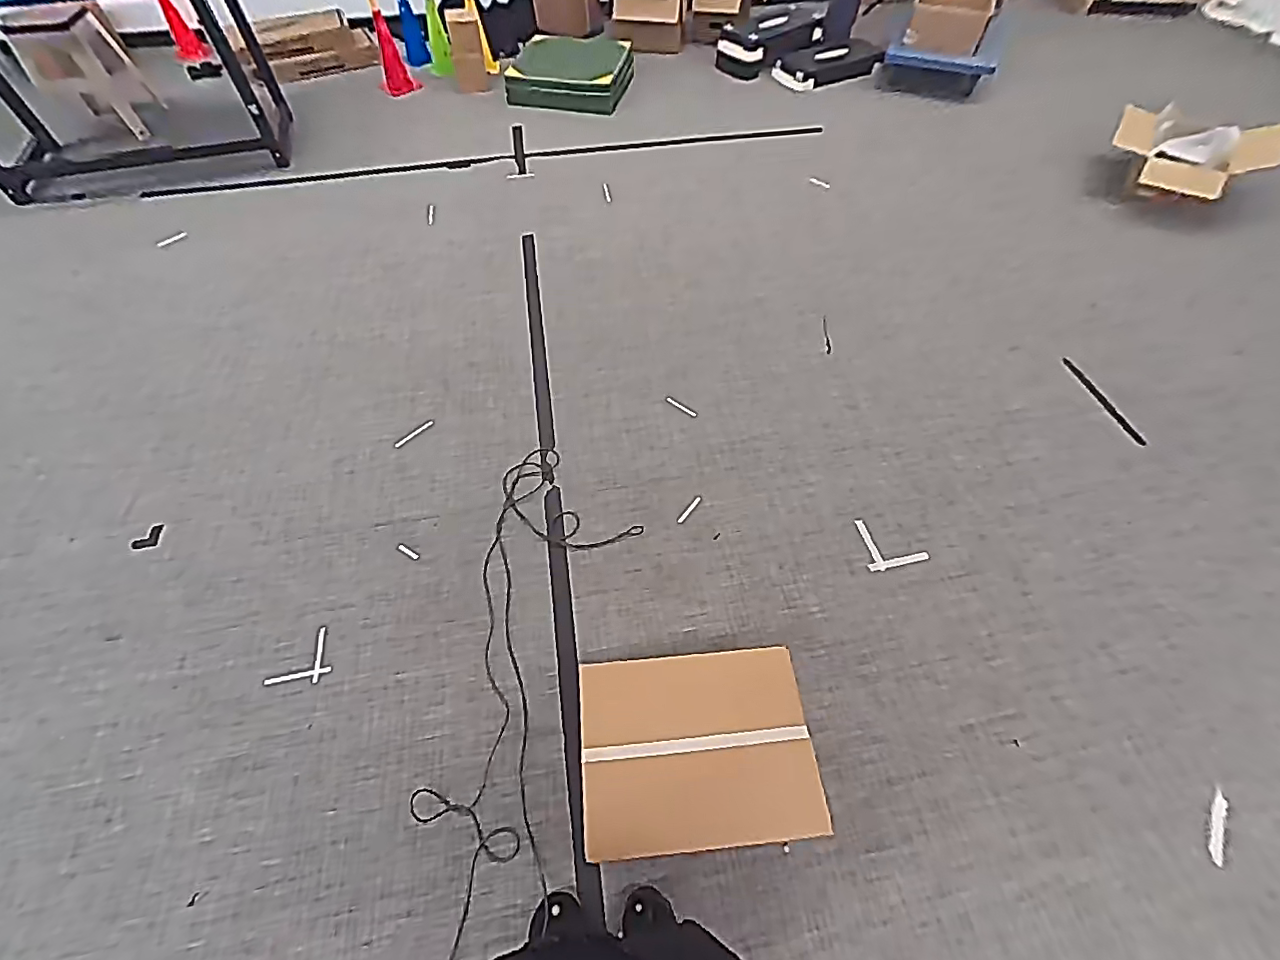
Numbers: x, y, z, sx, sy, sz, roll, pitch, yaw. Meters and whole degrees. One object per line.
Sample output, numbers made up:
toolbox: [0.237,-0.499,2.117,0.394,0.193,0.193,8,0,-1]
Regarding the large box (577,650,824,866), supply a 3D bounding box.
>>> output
large box: [0.093,0.555,1.078,0.408,0.320,0.320,-4,55,-3]
